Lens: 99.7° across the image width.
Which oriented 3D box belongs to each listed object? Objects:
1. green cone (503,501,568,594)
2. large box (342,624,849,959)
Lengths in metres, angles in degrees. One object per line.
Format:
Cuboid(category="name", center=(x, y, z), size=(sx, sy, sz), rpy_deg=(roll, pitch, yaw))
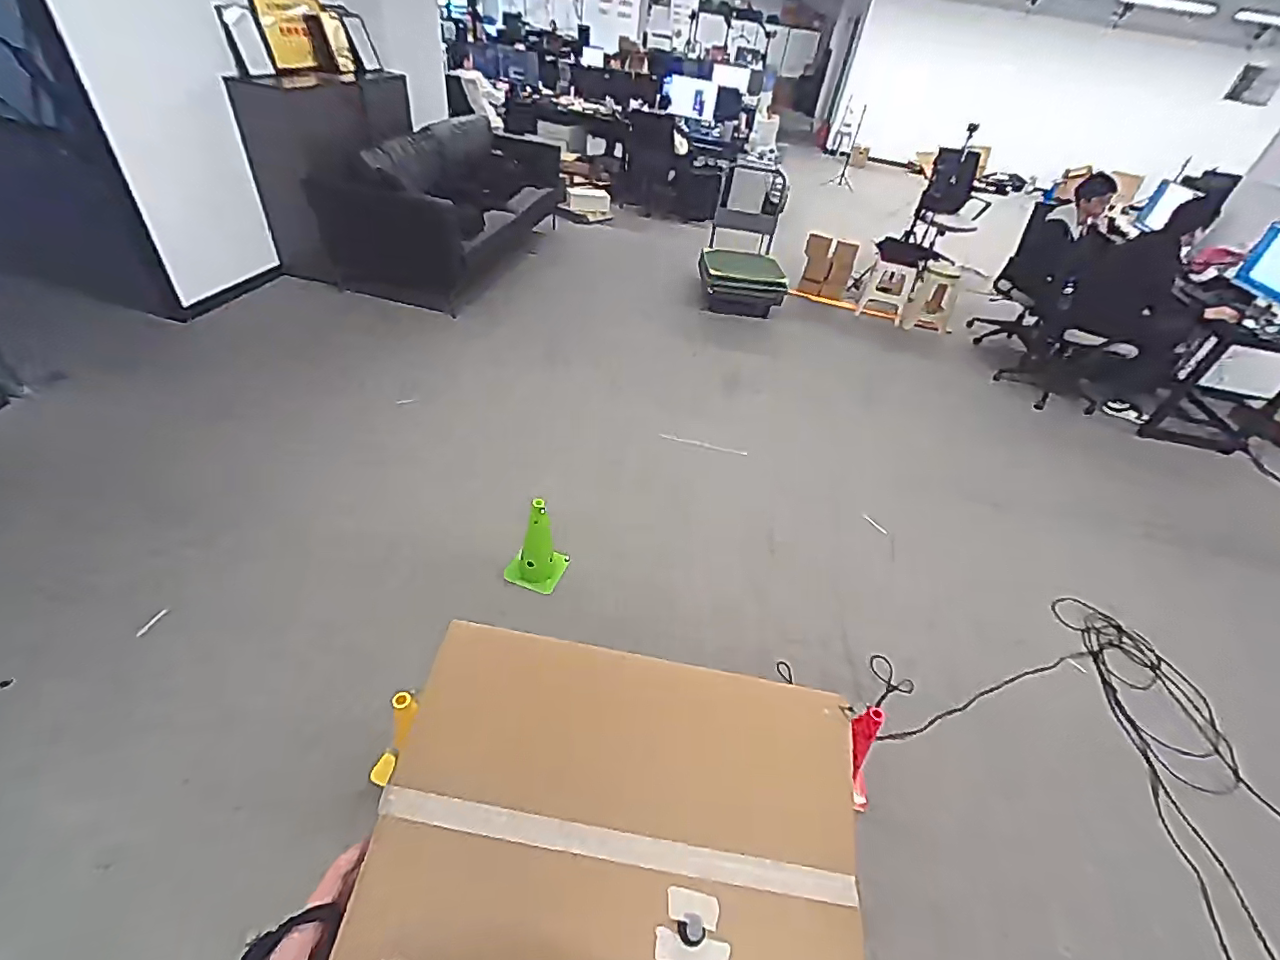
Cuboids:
Cuboid(category="green cone", center=(-0.379, 0.212, 1.968), size=(0.200, 0.368, 0.202), rpy_deg=(17, 42, 9))
Cuboid(category="large box", center=(-0.030, 0.383, 0.596), size=(0.408, 0.320, 0.320), rpy_deg=(11, 59, 1))
